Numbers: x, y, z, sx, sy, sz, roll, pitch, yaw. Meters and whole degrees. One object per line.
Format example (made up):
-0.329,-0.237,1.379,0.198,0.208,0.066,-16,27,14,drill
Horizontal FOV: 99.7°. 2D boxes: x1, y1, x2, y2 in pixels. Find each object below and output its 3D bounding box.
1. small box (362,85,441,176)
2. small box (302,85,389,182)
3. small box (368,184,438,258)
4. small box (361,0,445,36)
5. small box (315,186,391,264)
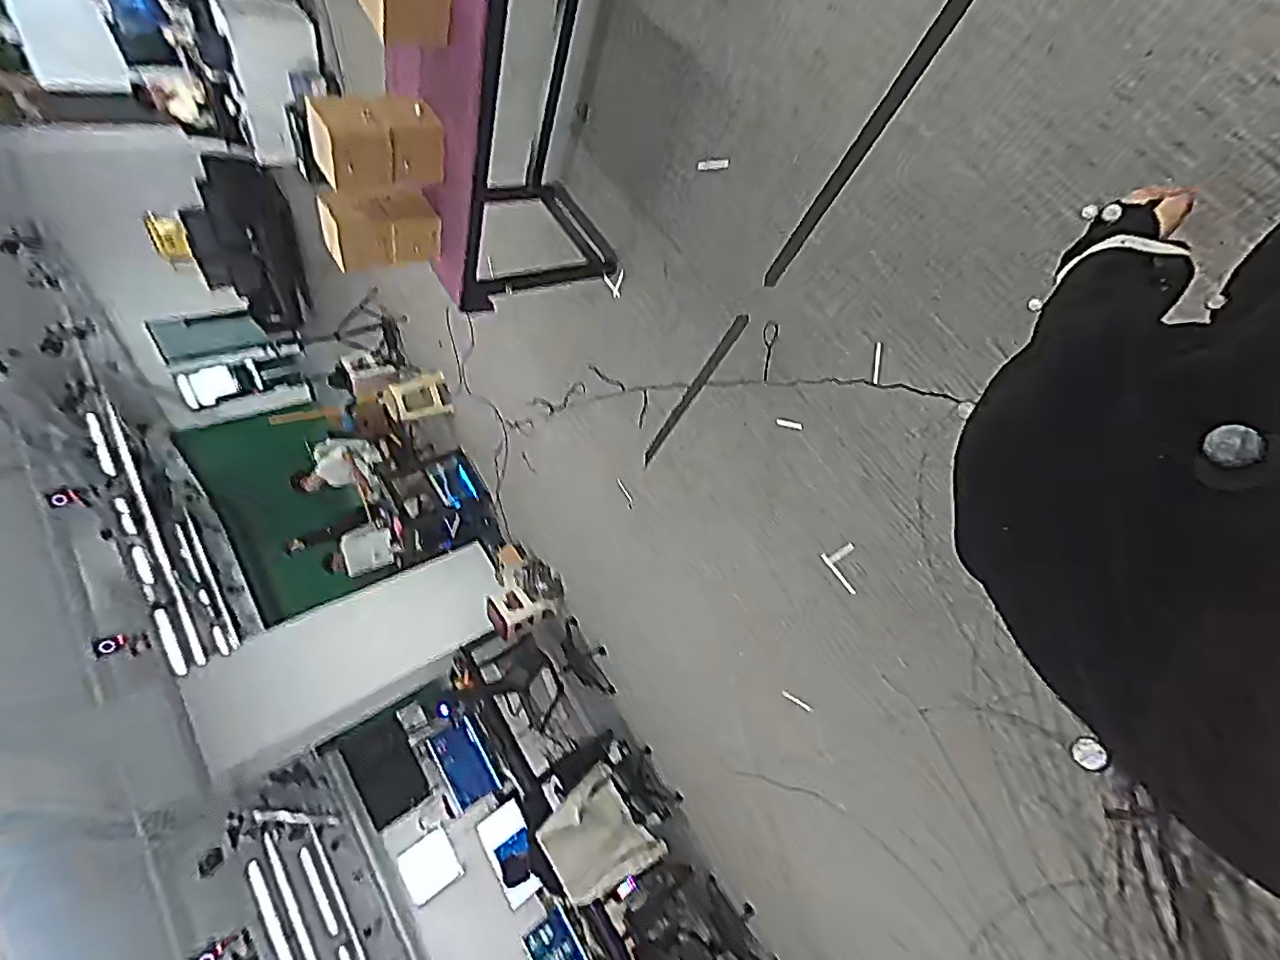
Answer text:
-0.715,-1.050,1.631,0.168,0.176,0.179,54,145,17,small box
-0.832,-0.983,1.541,0.168,0.176,0.179,55,144,14,small box
-0.810,-0.899,1.866,0.179,0.176,0.168,54,146,19,small box
-0.588,-1.242,1.325,0.168,0.176,0.179,60,147,10,small box
-0.942,-0.845,1.784,0.168,0.176,0.179,53,144,20,small box
